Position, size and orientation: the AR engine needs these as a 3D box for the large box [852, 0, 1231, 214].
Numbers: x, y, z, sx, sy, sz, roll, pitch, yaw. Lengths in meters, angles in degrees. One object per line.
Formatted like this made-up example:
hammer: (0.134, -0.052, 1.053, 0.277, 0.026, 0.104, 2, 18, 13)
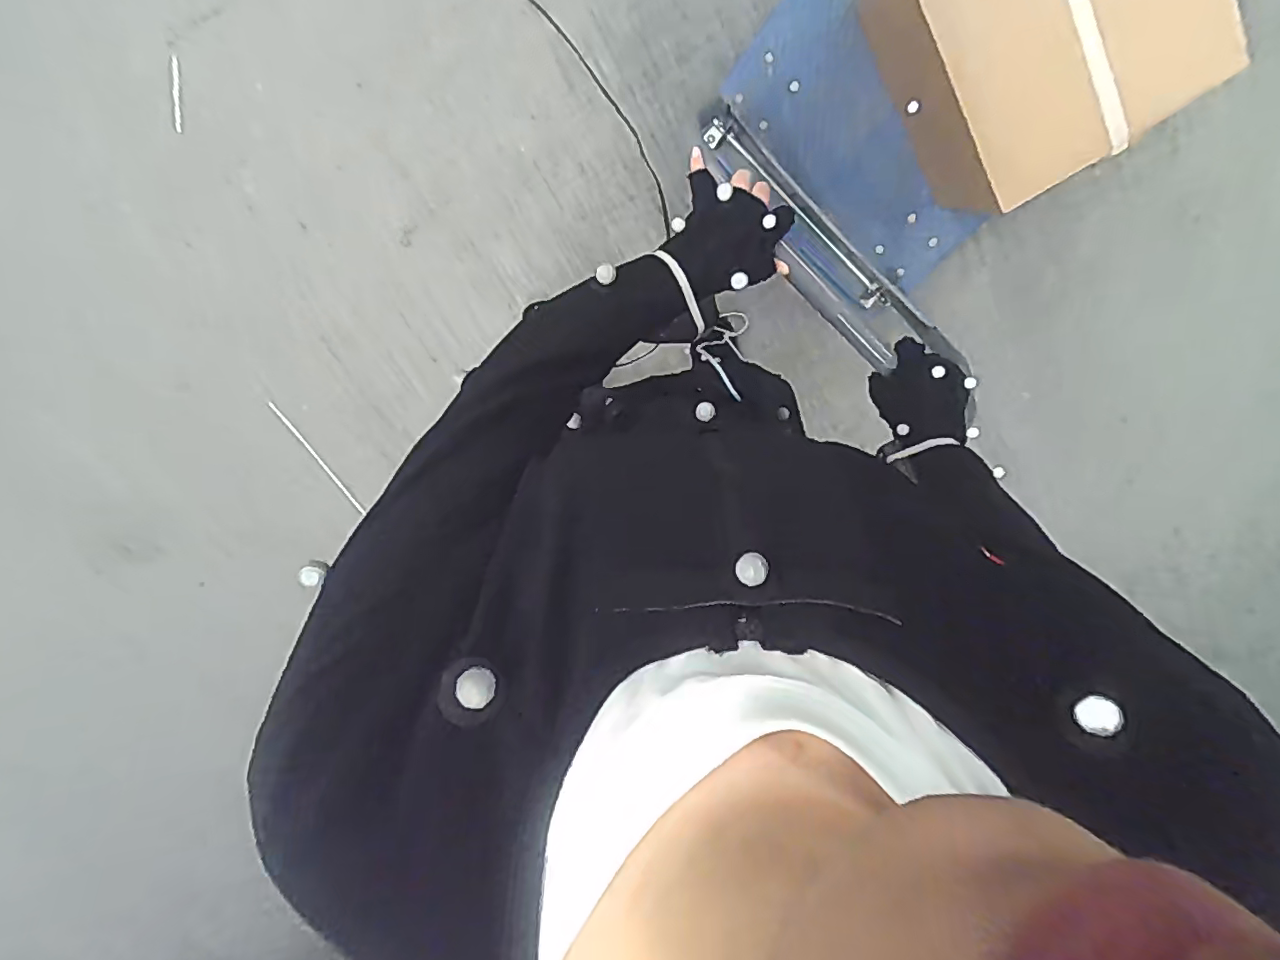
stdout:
large box: (0.588, -0.703, 0.854, 0.320, 0.320, 0.408, -29, 111, 23)
